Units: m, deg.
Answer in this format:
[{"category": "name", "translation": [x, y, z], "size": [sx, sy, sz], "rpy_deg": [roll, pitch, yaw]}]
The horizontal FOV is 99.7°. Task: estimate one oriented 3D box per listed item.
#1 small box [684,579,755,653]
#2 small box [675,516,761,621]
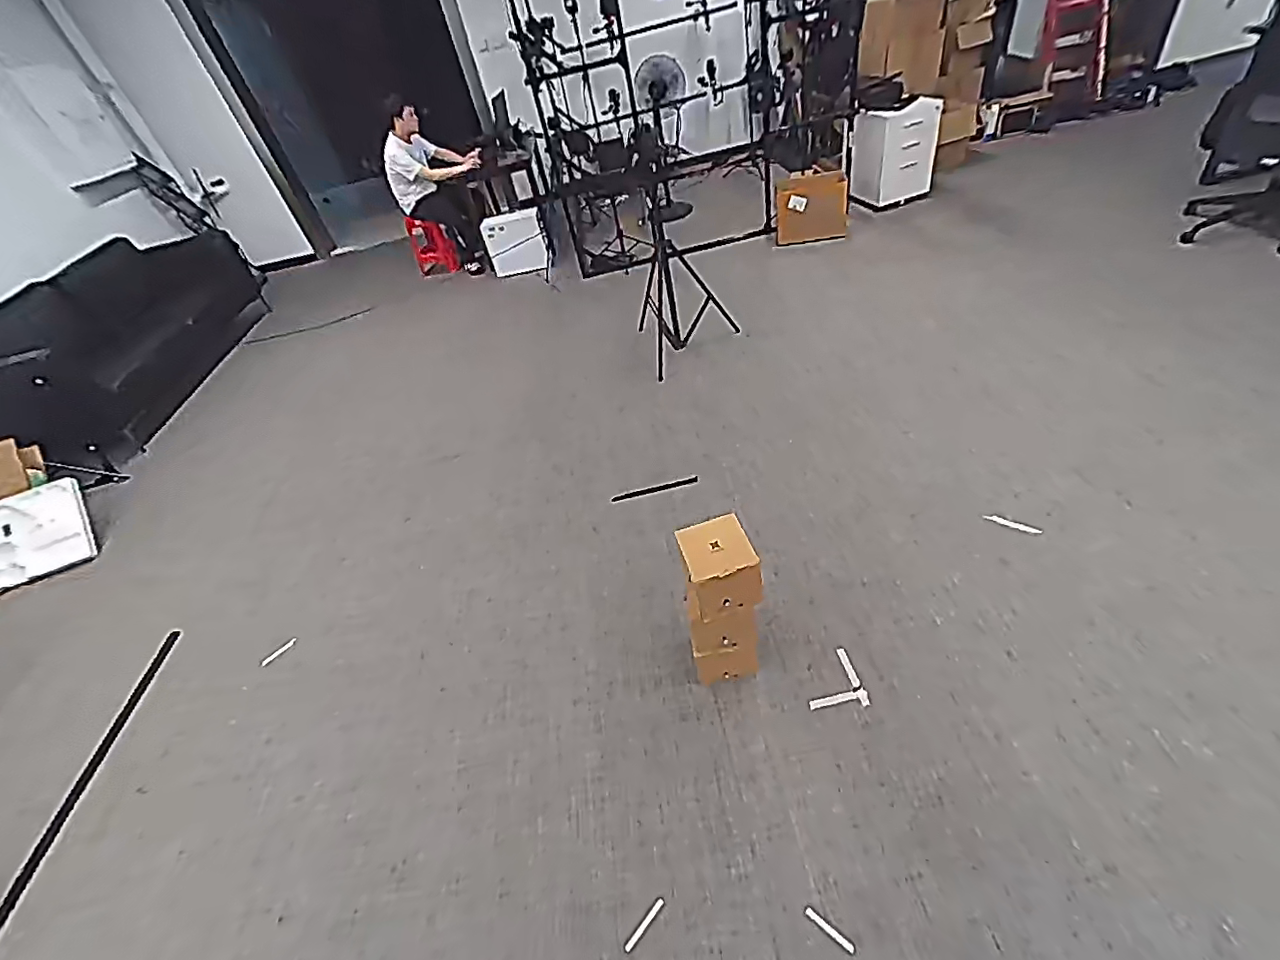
[{"category": "small box", "translation": [0.216, 0.347, 1.482], "size": [0.168, 0.176, 0.179], "rpy_deg": [-10, 42, 6]}, {"category": "small box", "translation": [0.198, 0.225, 1.375], "size": [0.168, 0.176, 0.179], "rpy_deg": [-17, 42, -3]}]
